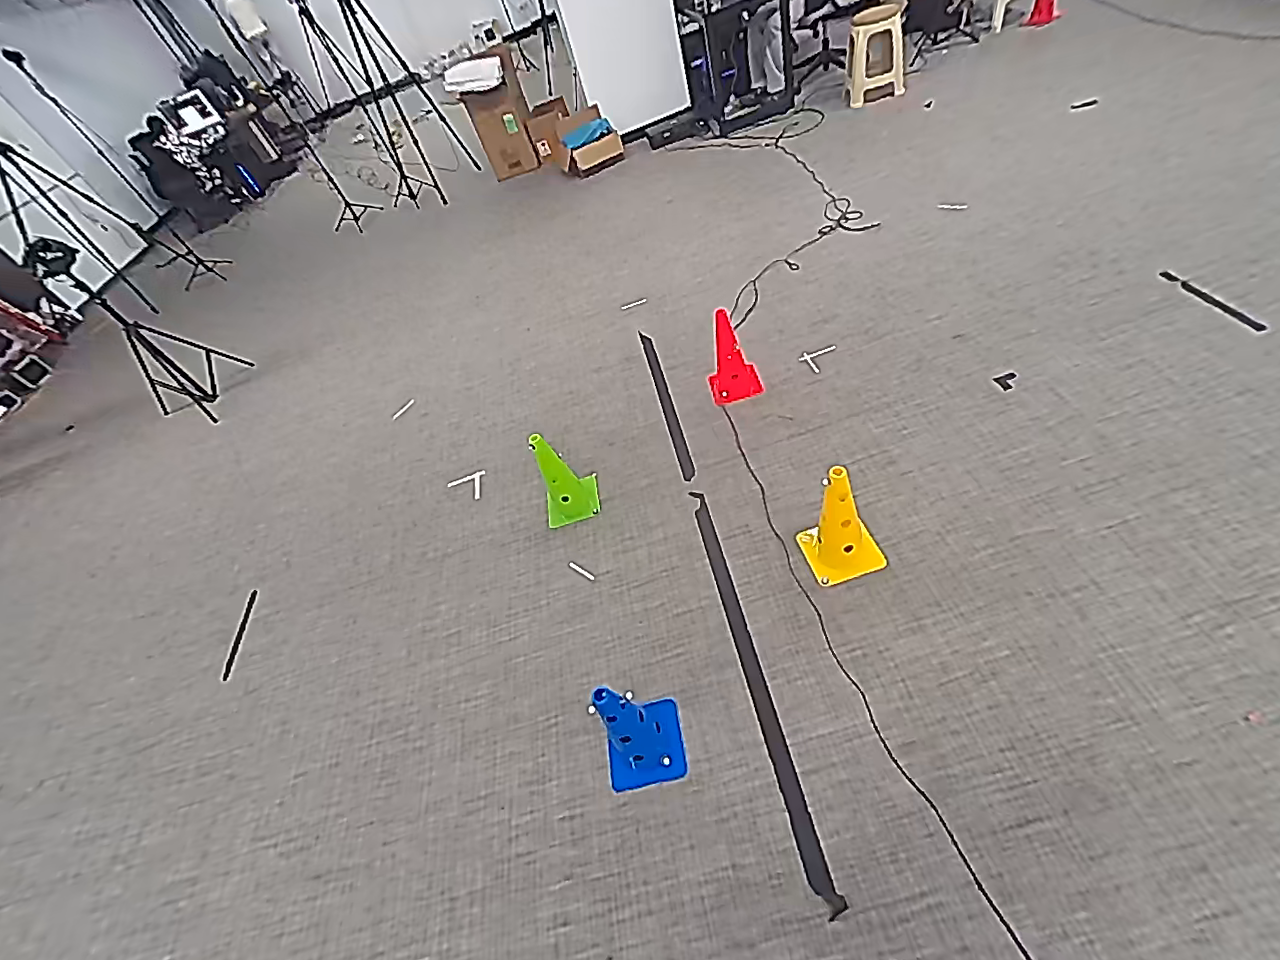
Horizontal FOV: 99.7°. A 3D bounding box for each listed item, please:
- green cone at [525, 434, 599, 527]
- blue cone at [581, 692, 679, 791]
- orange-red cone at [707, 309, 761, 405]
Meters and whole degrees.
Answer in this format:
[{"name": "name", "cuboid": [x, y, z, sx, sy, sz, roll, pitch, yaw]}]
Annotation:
[{"name": "green cone", "cuboid": [-0.307, -0.030, 1.920, 0.202, 0.368, 0.200, -19, 46, 6]}, {"name": "blue cone", "cuboid": [-0.045, 0.586, 1.290, 0.192, 0.380, 0.193, -16, 46, 9]}, {"name": "orange-red cone", "cuboid": [0.338, -0.498, 2.089, 0.199, 0.360, 0.198, -14, 48, 7]}]
